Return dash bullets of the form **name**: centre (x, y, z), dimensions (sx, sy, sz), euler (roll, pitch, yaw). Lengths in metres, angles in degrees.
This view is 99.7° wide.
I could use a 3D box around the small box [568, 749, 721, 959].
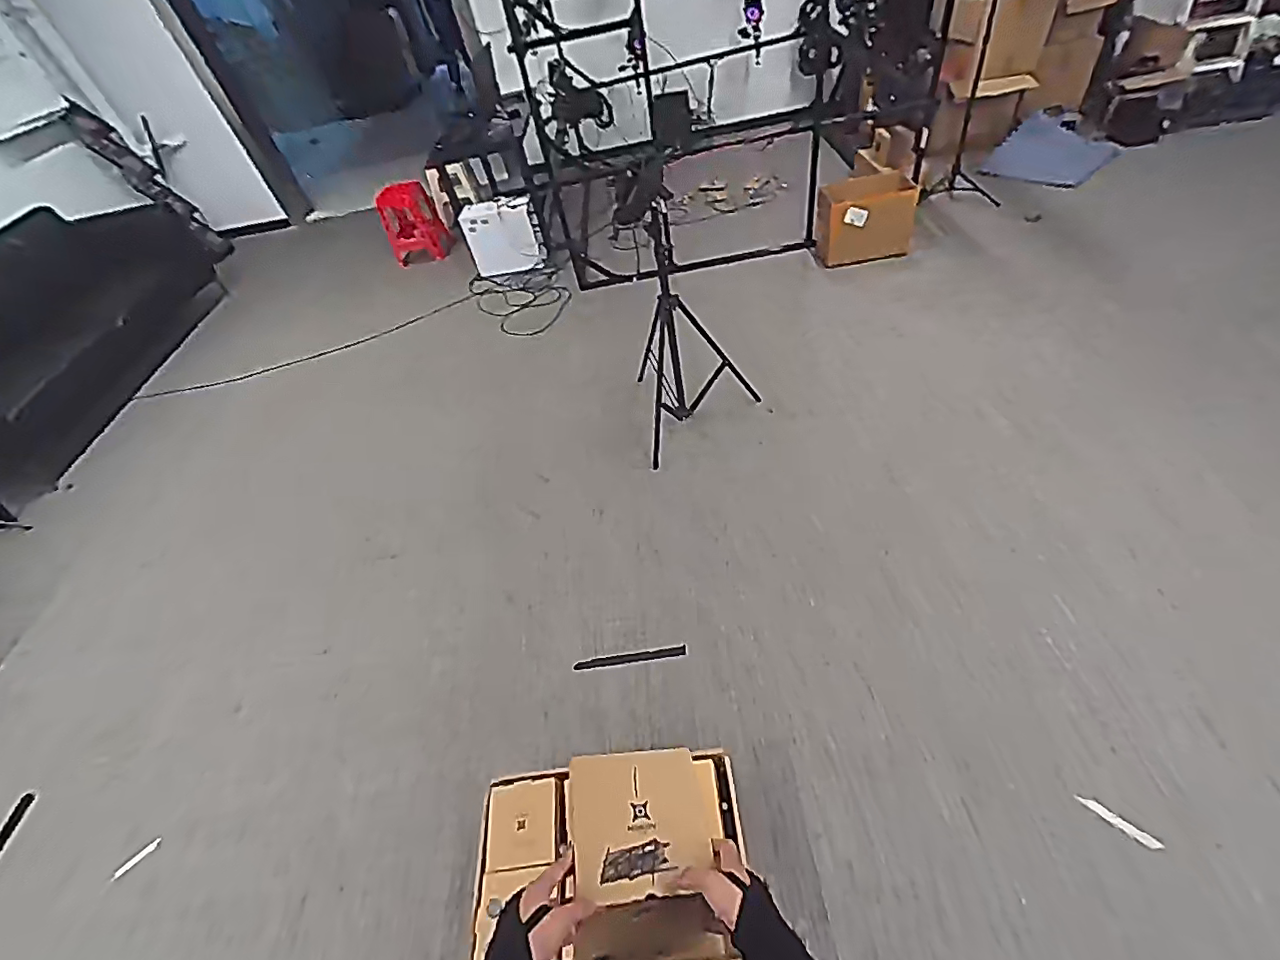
- **small box**: centre (-0.006, 0.481, 0.694), dimensions (0.168, 0.176, 0.179), euler (0, 31, -10)
